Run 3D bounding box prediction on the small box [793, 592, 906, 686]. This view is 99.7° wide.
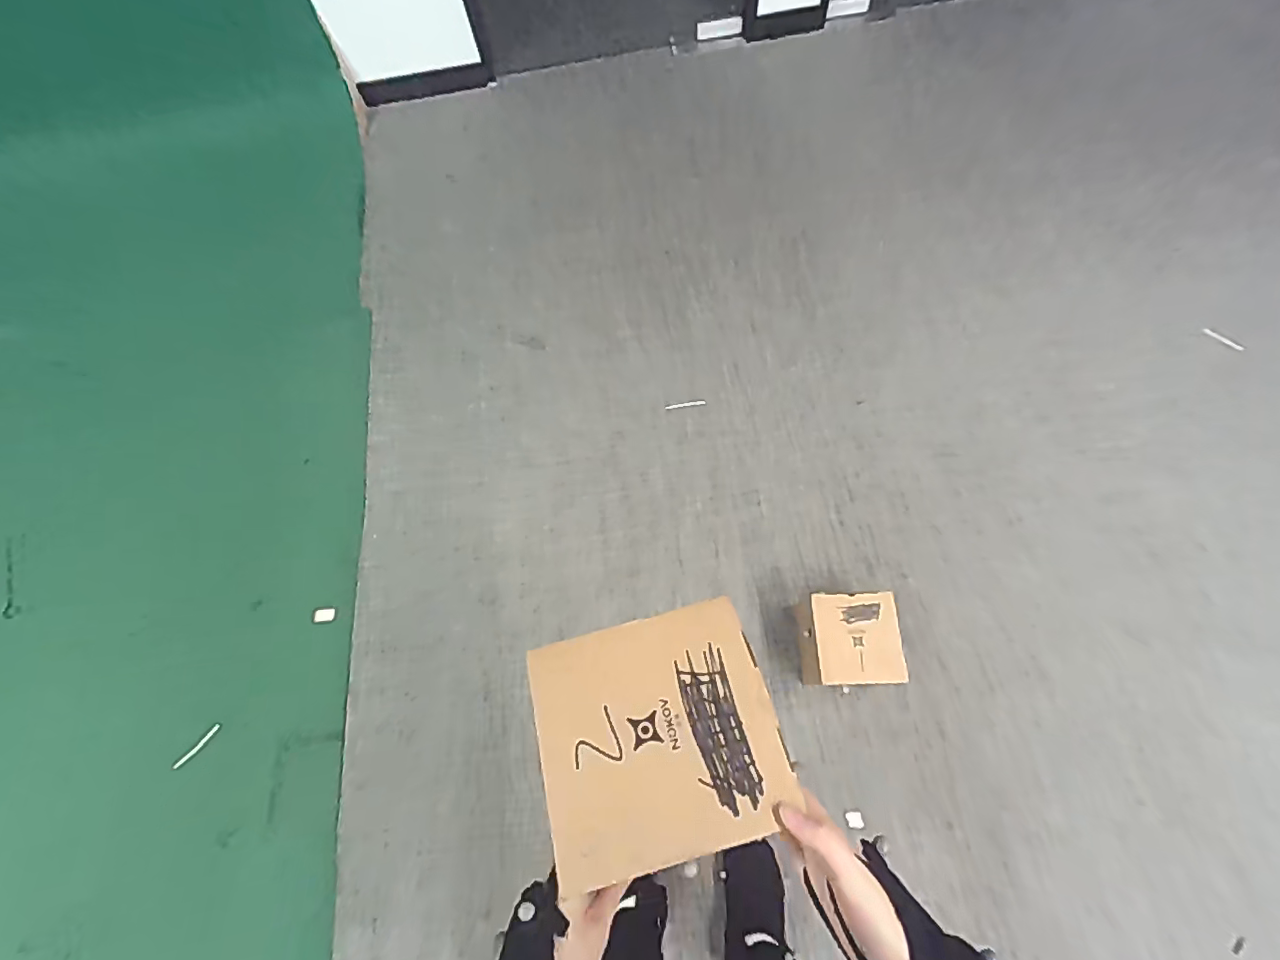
[{"bbox_3d":[0.428,0.338,1.134,0.168,0.176,0.179,-2,70,3],"label":"small box"}]
